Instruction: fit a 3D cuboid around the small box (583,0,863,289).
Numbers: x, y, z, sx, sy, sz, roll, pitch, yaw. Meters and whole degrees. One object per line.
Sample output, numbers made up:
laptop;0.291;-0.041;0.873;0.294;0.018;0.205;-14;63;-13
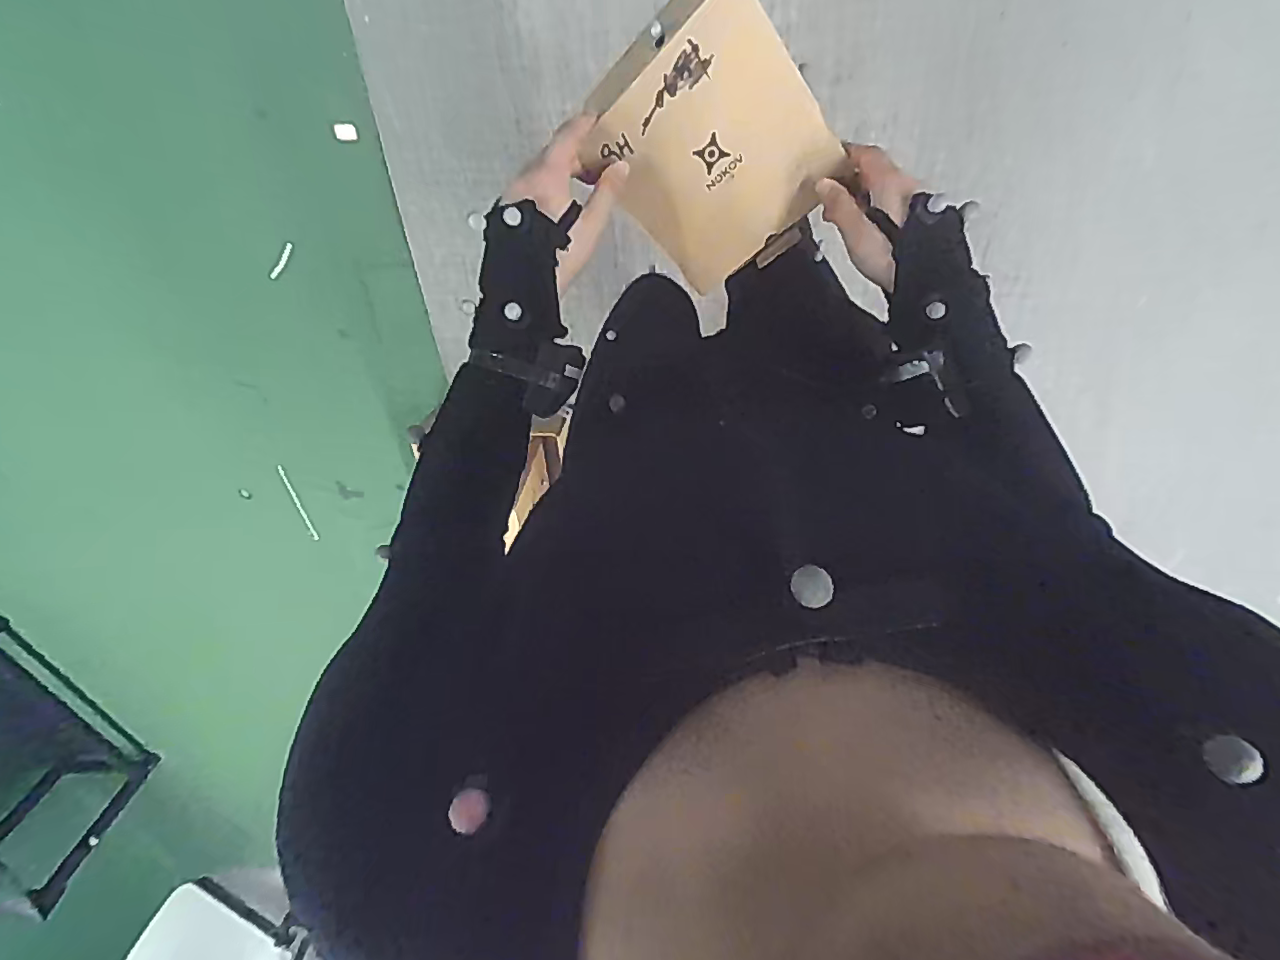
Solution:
small box;0.070;-0.322;0.493;0.168;0.176;0.179;-32;129;29
